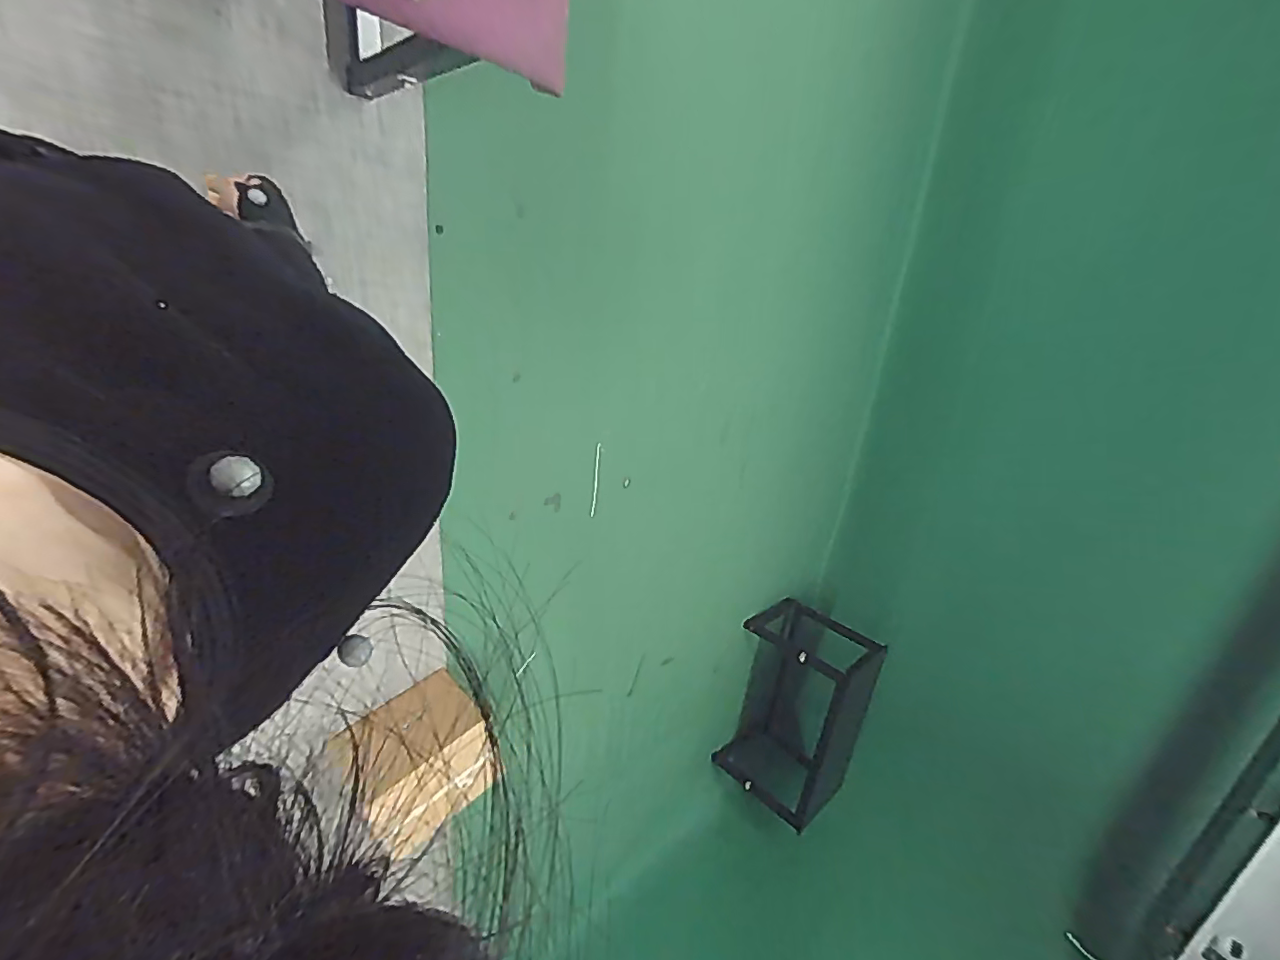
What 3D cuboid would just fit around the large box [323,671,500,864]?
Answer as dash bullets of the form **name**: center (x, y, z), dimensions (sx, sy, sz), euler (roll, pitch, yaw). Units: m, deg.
- **large box**: center (-0.747, 0.930, 1.797), dimensions (0.408, 0.320, 0.320), euler (-30, 129, -36)
